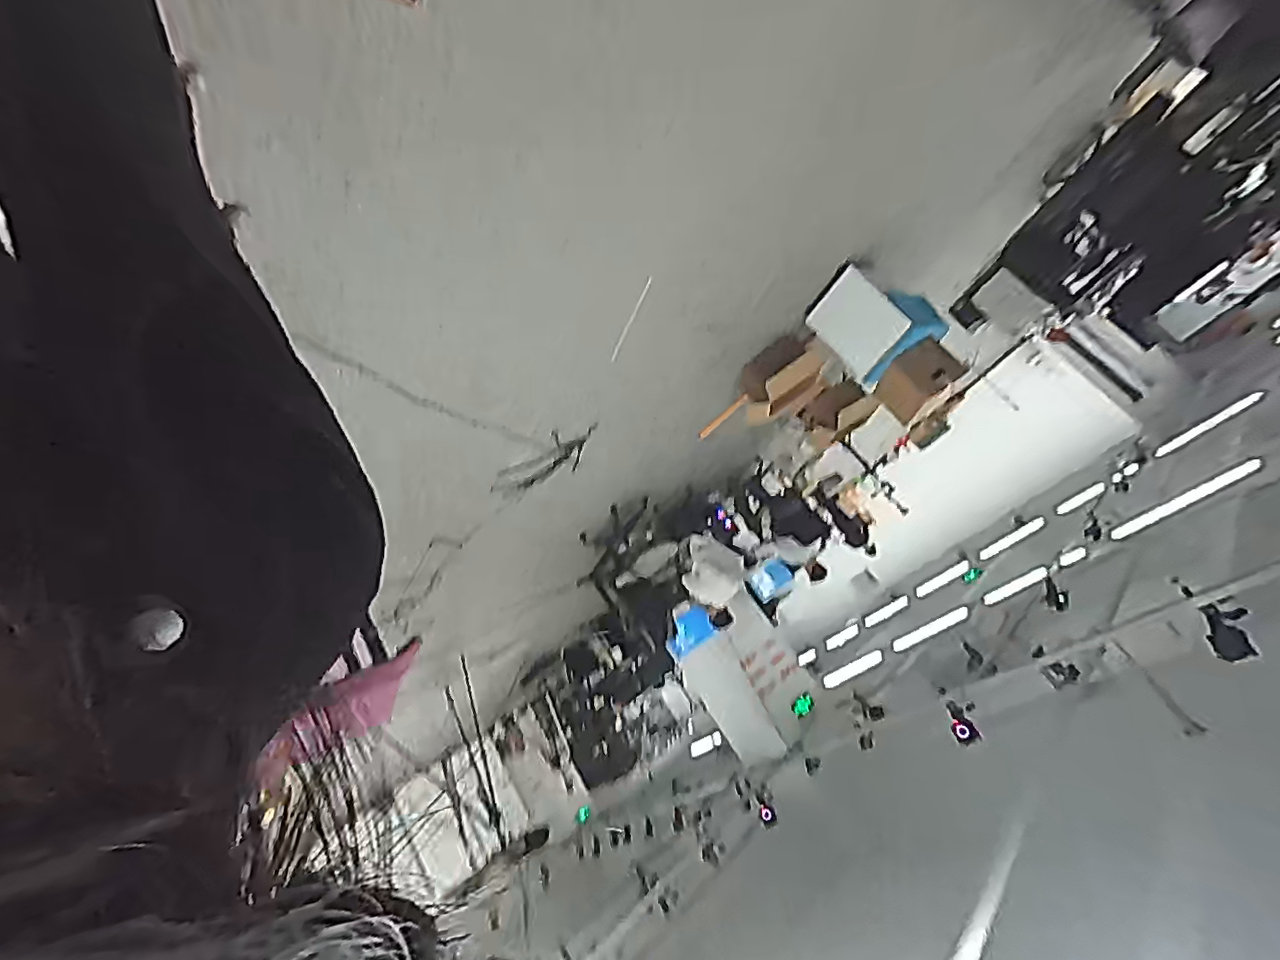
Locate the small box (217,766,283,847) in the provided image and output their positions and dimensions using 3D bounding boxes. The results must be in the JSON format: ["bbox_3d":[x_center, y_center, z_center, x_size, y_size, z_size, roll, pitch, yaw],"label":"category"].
[{"bbox_3d":[-1.401,1.150,1.919,0.168,0.176,0.179,-11,149,-50],"label":"small box"}]
